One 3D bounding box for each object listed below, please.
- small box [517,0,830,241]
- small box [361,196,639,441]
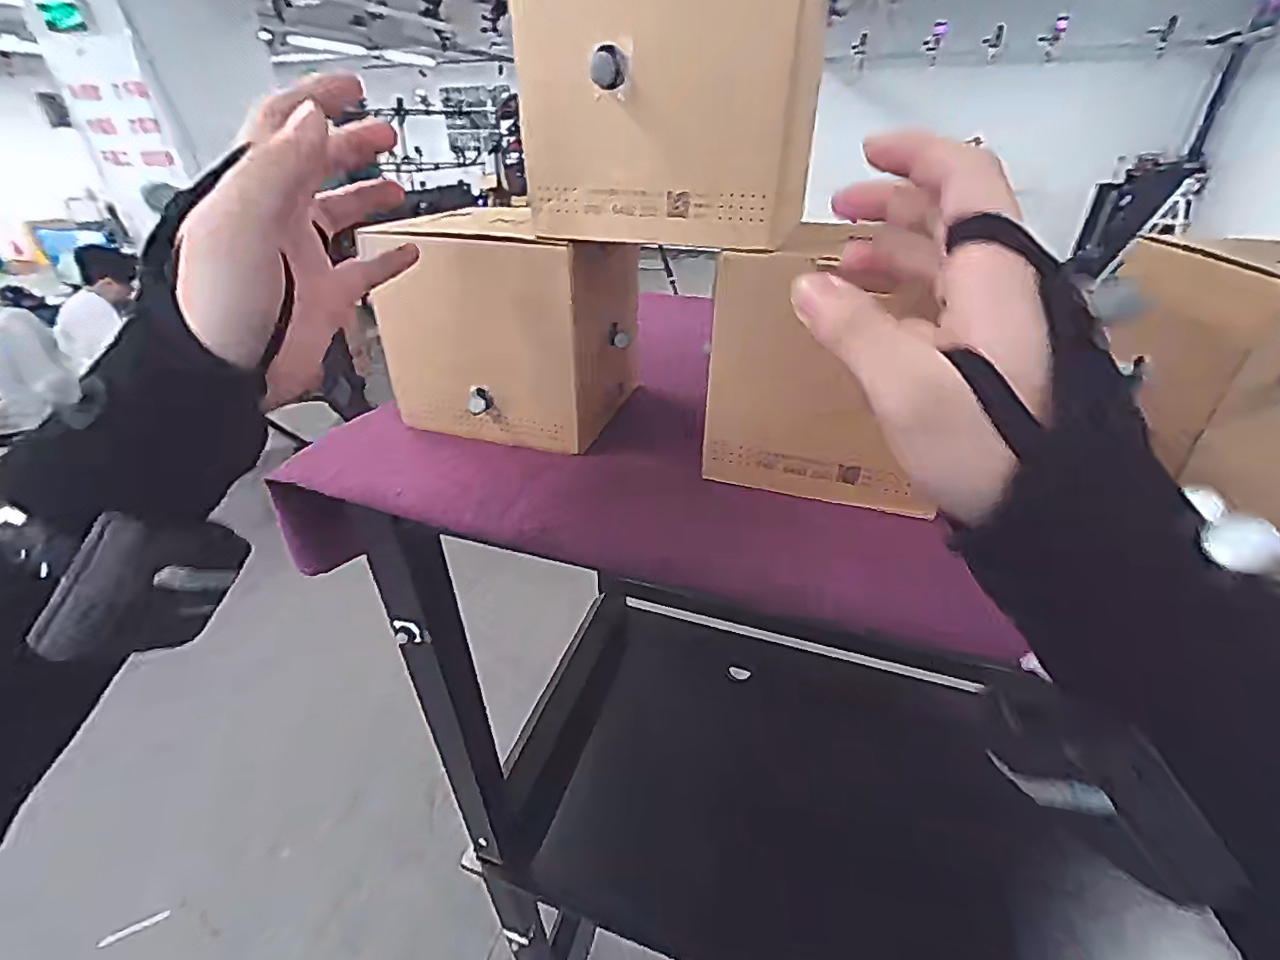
[{"bbox_3d":[0.033,-0.266,0.370,0.168,0.176,0.179,11,33,16],"label":"small box"},{"bbox_3d":[-0.105,-0.150,0.489,0.179,0.176,0.168,10,33,13],"label":"small box"}]
